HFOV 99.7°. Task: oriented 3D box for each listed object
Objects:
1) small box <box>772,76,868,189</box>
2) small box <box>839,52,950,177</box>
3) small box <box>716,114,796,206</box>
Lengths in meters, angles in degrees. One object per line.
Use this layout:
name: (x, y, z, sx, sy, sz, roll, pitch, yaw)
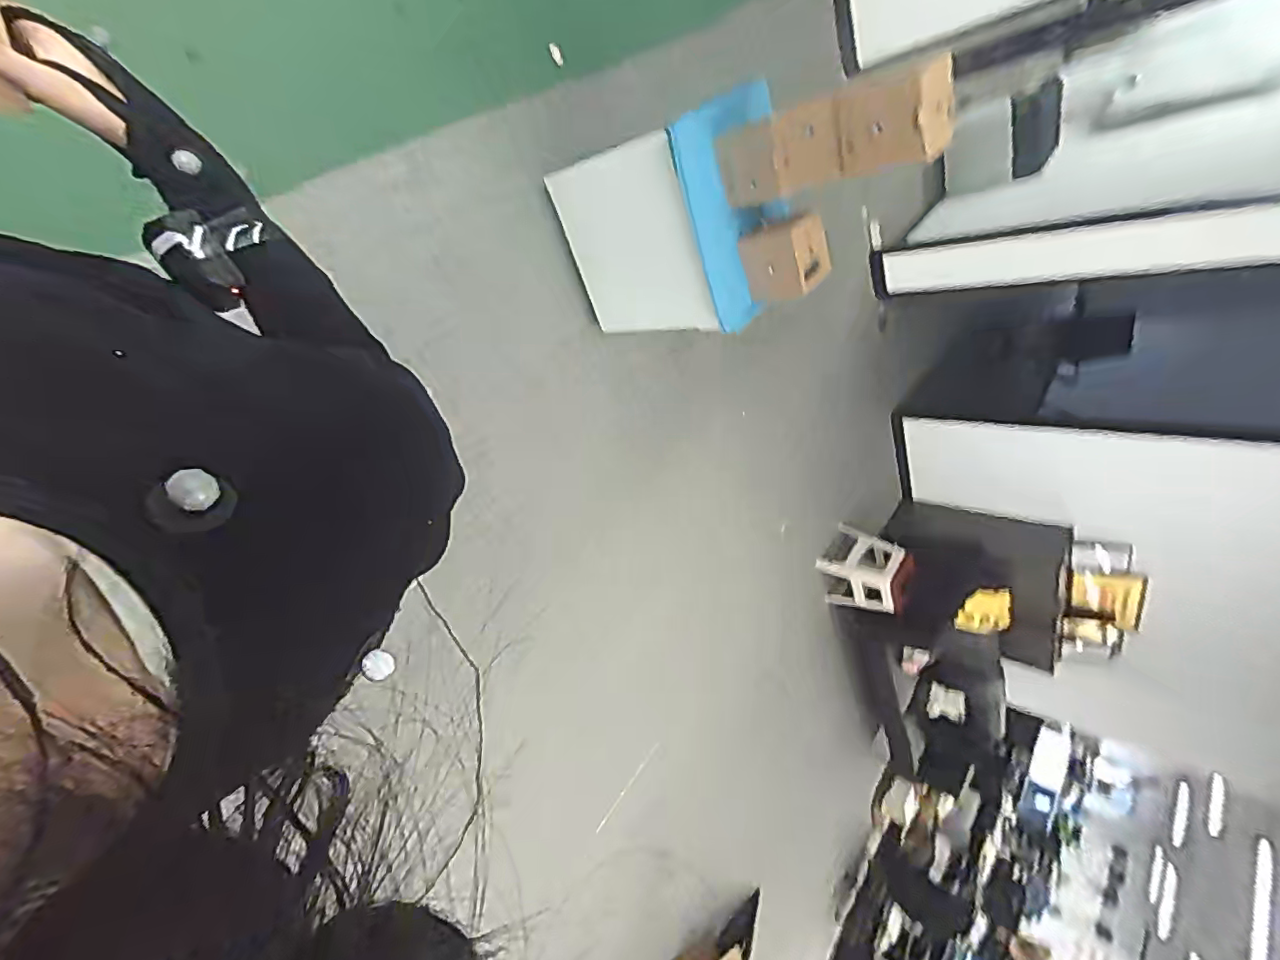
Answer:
small box: (0.418, -0.797, 1.251, 0.179, 0.176, 0.168, -43, 128, -32)
small box: (0.530, -0.760, 1.136, 0.179, 0.176, 0.168, -42, 127, -31)
small box: (0.307, -0.814, 1.368, 0.179, 0.176, 0.168, -44, 128, -31)
